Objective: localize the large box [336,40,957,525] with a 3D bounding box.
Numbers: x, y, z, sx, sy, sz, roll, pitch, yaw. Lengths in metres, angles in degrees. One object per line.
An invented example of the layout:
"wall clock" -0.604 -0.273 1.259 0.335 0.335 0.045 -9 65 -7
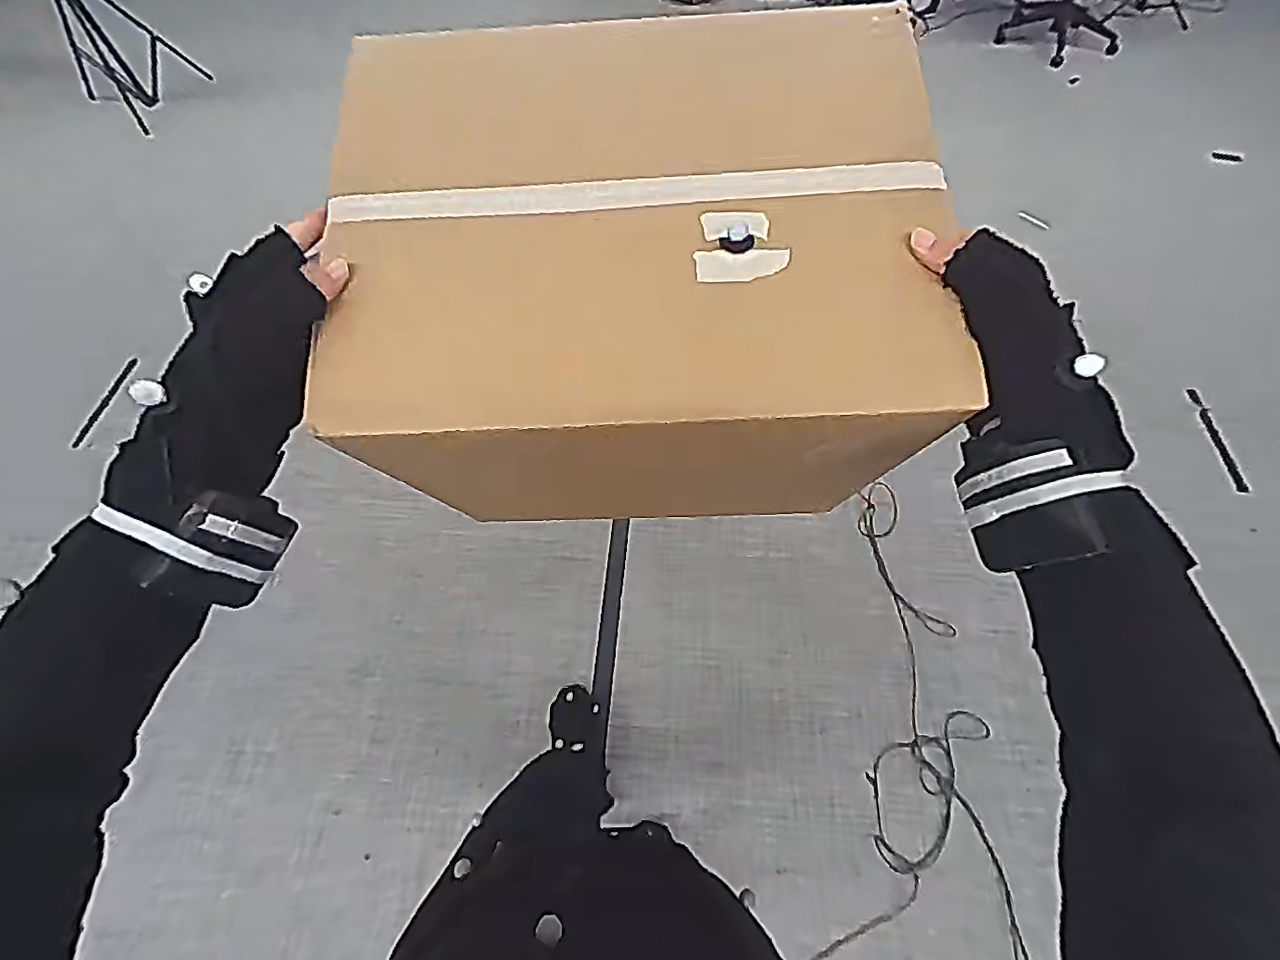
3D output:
"large box" 0.000 -0.143 0.523 0.408 0.320 0.320 -2 75 2
